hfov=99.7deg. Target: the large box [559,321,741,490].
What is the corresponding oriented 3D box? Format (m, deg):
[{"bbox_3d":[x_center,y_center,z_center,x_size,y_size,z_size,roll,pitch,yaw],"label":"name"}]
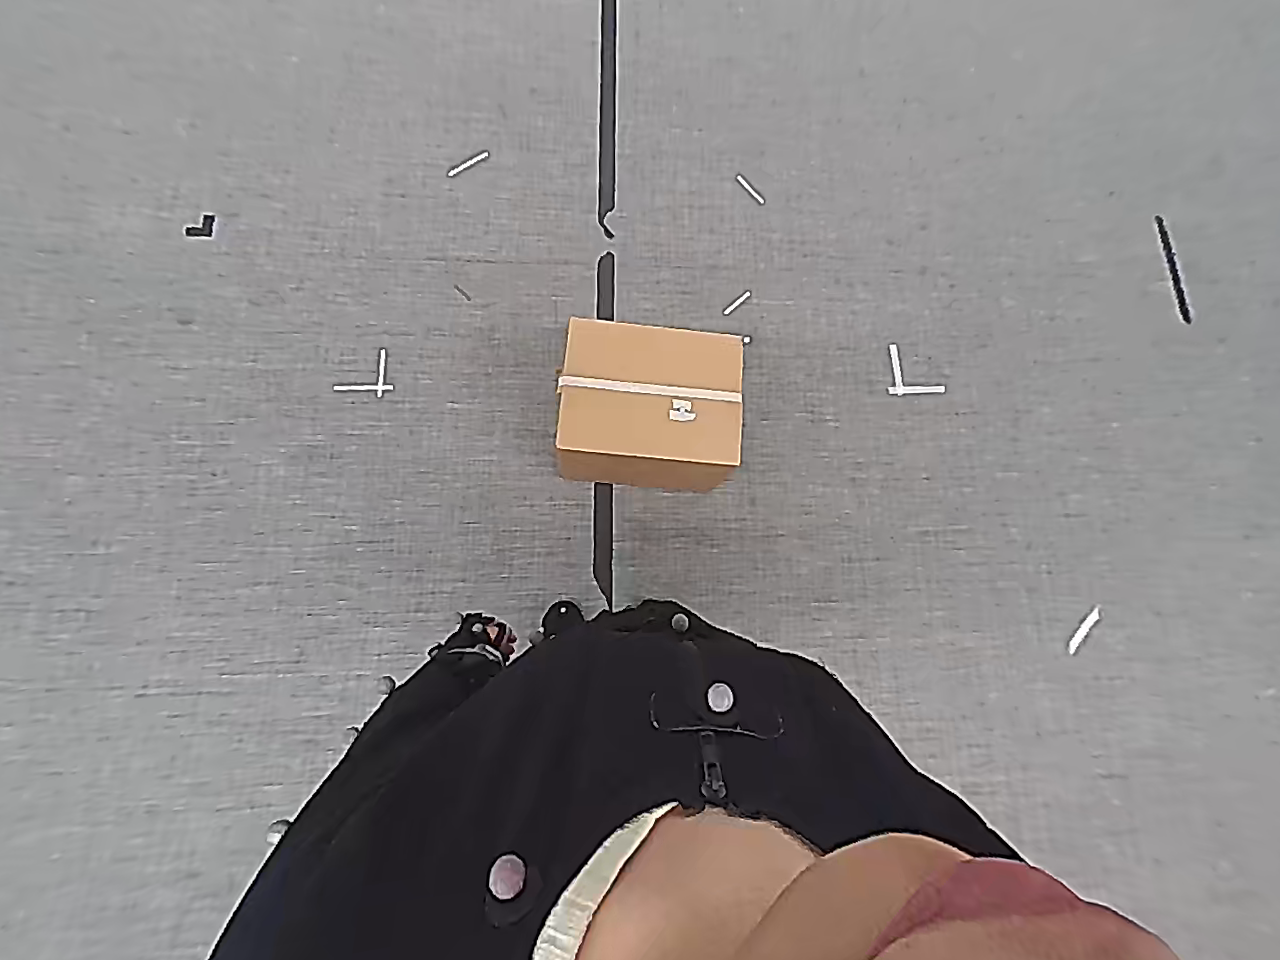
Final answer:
[{"bbox_3d":[0.012,-0.166,1.349,0.408,0.320,0.320,5,78,-5],"label":"large box"}]
